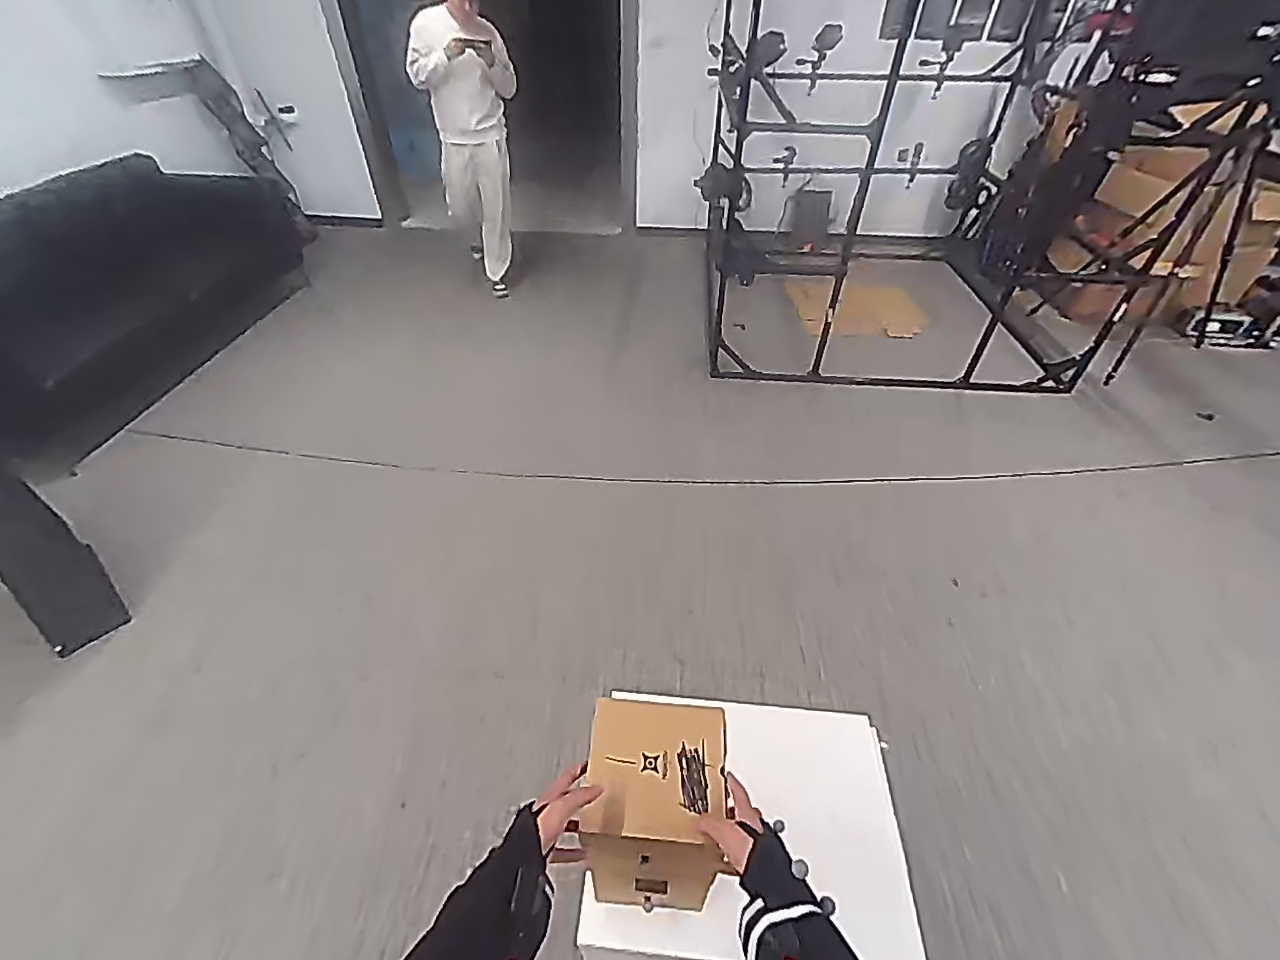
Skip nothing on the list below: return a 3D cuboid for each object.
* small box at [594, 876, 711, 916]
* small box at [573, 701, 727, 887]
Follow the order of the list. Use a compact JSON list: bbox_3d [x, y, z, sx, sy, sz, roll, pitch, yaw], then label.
[{"bbox_3d":[0.019,0.538,0.834,0.168,0.176,0.179,3,42,4],"label":"small box"},{"bbox_3d":[0.017,0.419,0.719,0.179,0.176,0.168,3,41,4],"label":"small box"}]
